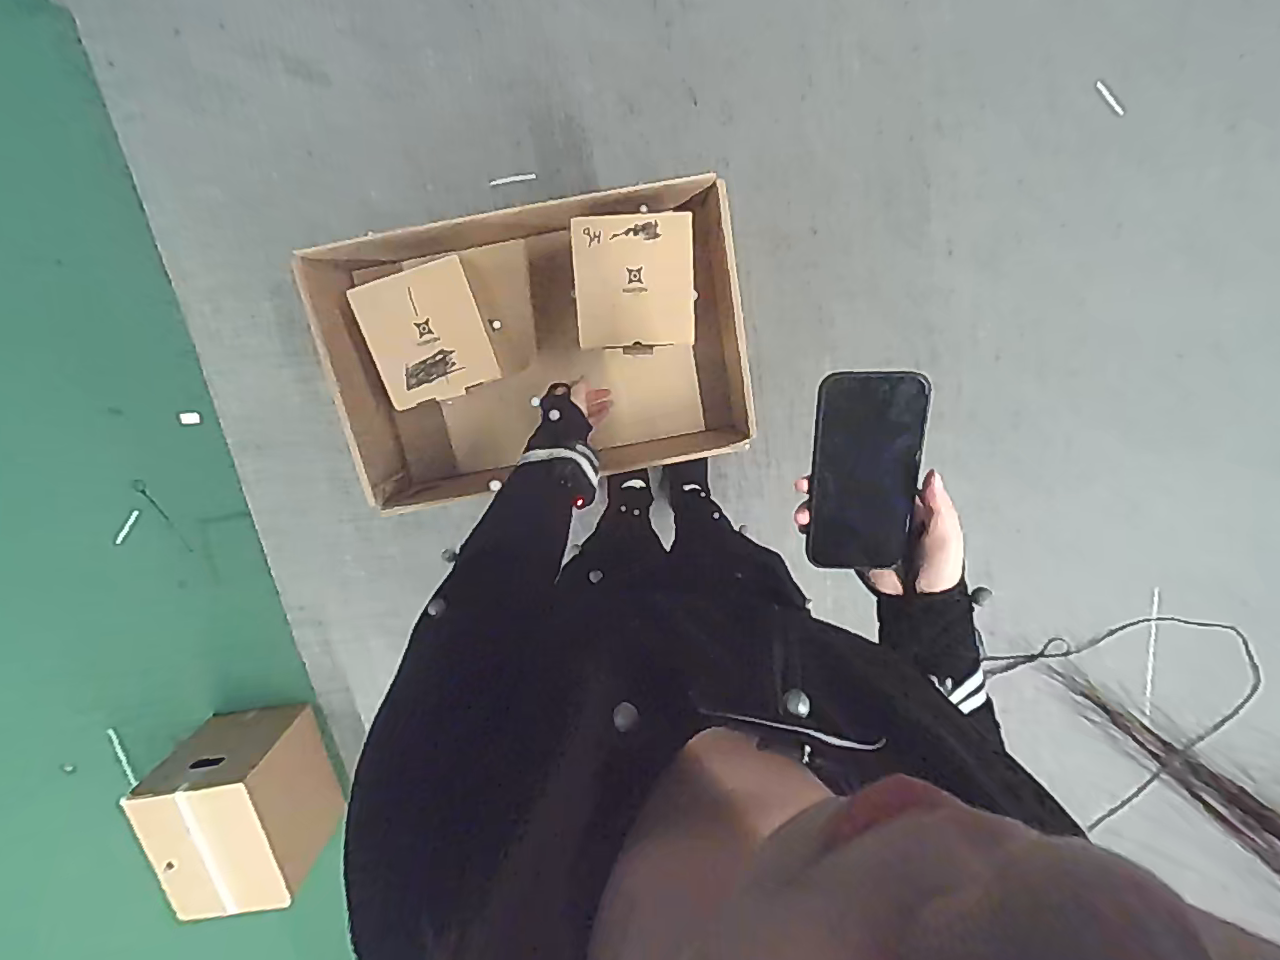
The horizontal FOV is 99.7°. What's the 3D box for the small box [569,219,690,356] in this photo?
[{"bbox_3d":[-0.013,-0.285,0.822,0.168,0.176,0.179,-3,105,-1],"label":"small box"}]
